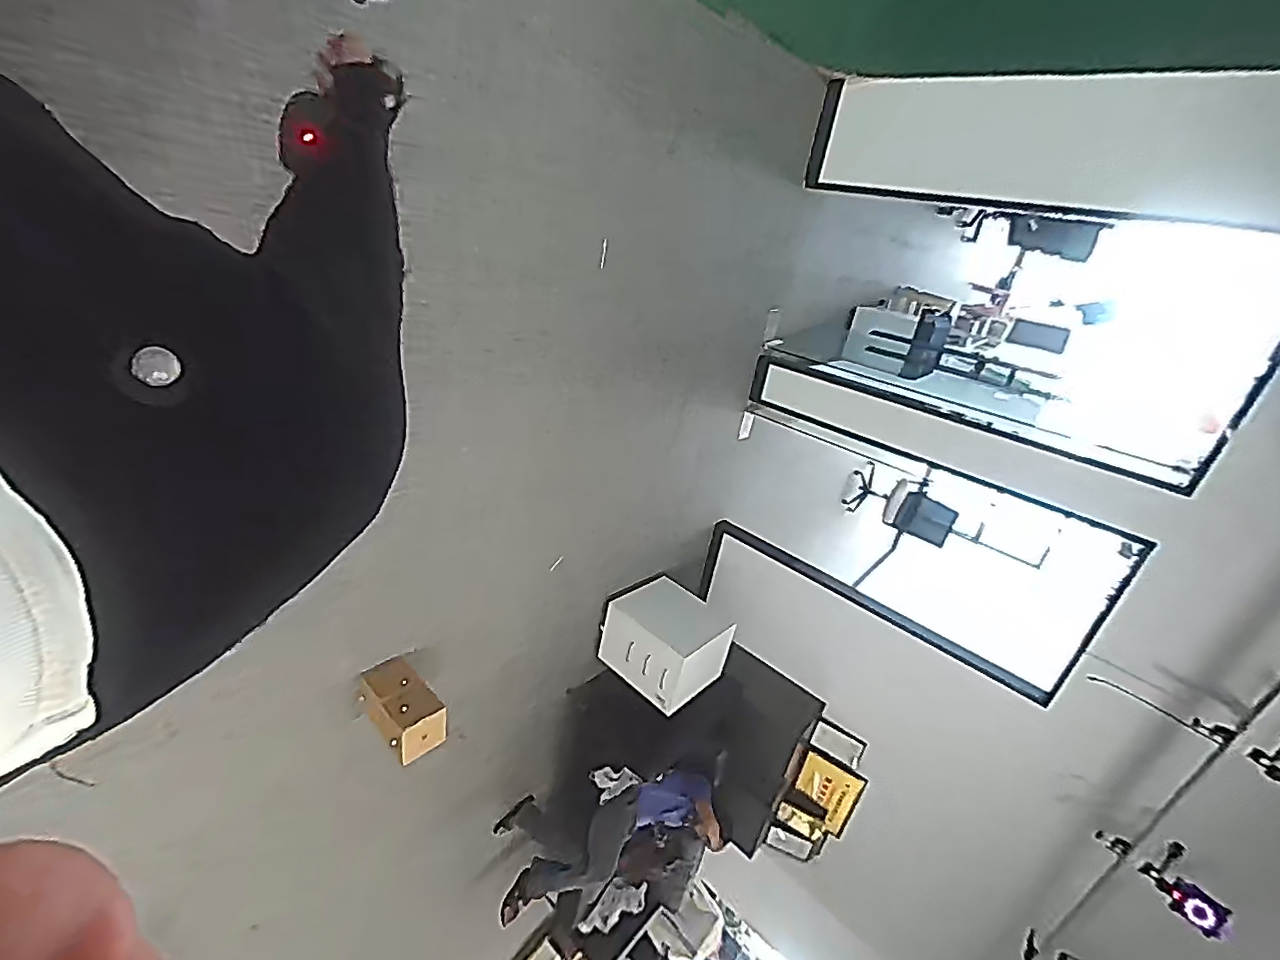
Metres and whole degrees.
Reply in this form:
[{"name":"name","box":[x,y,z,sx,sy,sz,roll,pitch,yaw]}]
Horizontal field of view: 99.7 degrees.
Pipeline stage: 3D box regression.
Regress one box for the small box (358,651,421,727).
[{"name":"small box","box":[-0.955,0.789,2.059,0.168,0.176,0.179,-18,128,-48]}]

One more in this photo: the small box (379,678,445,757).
[{"name":"small box","box":[-0.833,0.854,1.973,0.168,0.176,0.179,-20,130,-46]}]
